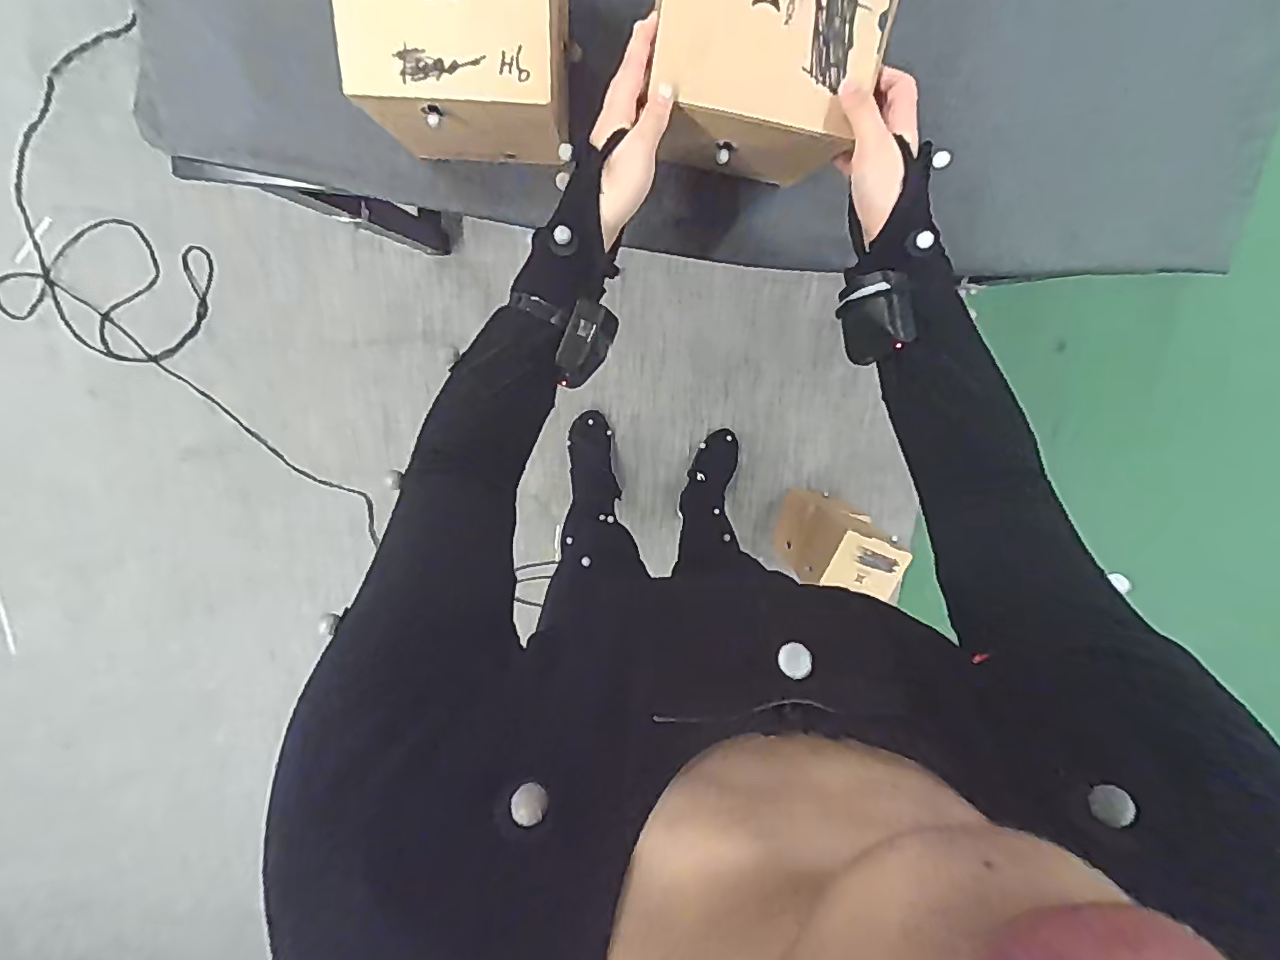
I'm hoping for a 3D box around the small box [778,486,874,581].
[{"bbox_3d":[0.472,0.134,1.407,0.168,0.176,0.179,12,105,-5],"label":"small box"}]

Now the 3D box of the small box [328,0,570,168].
[{"bbox_3d":[-0.155,-0.405,0.483,0.168,0.176,0.179,2,105,-1],"label":"small box"}]
